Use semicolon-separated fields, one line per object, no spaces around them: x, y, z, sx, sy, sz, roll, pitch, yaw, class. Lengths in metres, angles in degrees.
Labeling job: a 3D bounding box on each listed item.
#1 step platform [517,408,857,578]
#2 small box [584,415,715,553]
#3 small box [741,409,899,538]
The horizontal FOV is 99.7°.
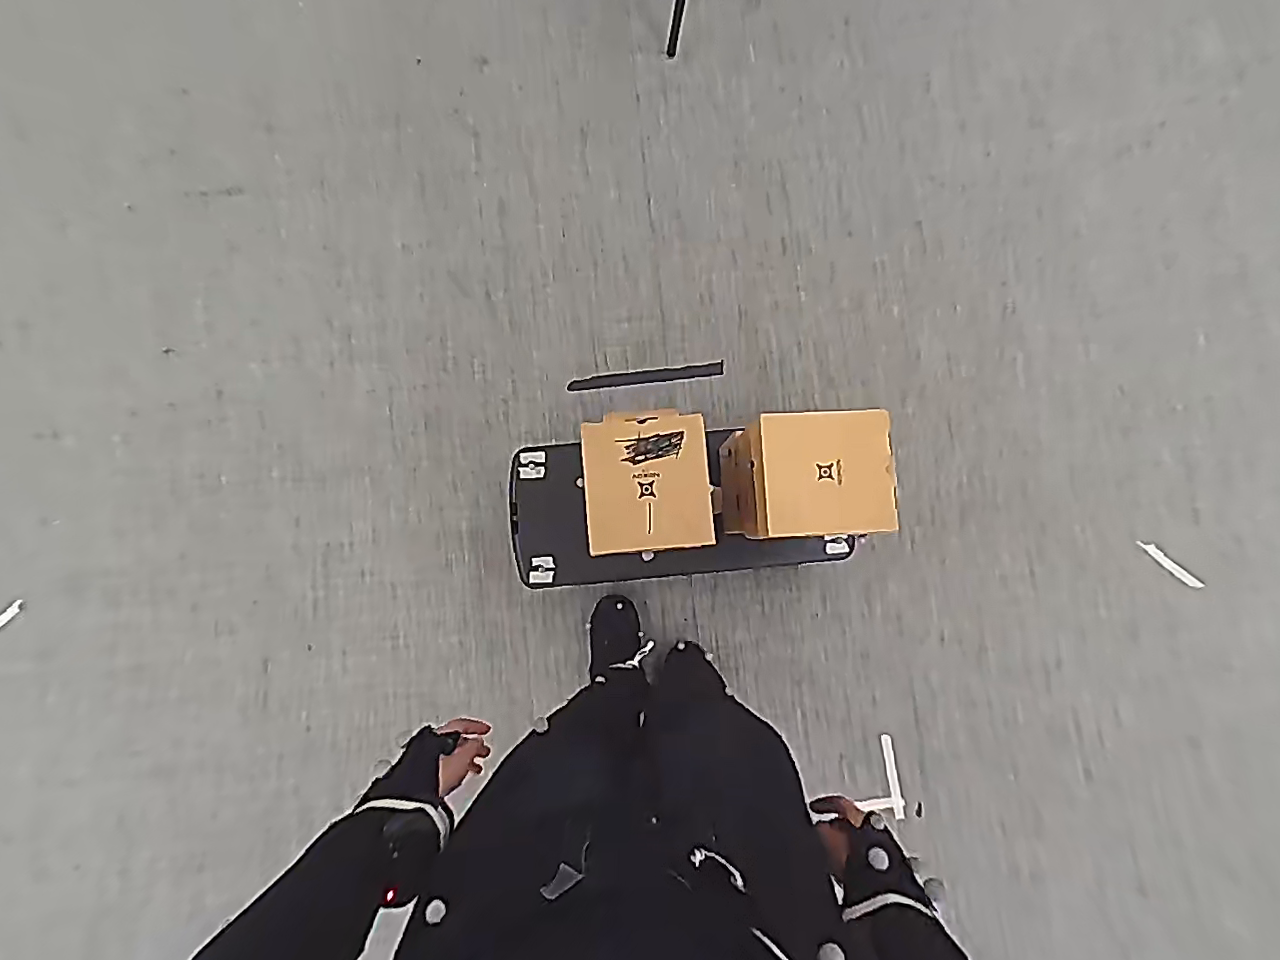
0.093;0.030;1.127;0.684;0.204;0.286;-6;83;0;step platform
0.011;0.013;0.788;0.168;0.176;0.179;-4;84;0;small box
0.248;-0.001;0.793;0.179;0.176;0.168;-3;84;-1;small box
